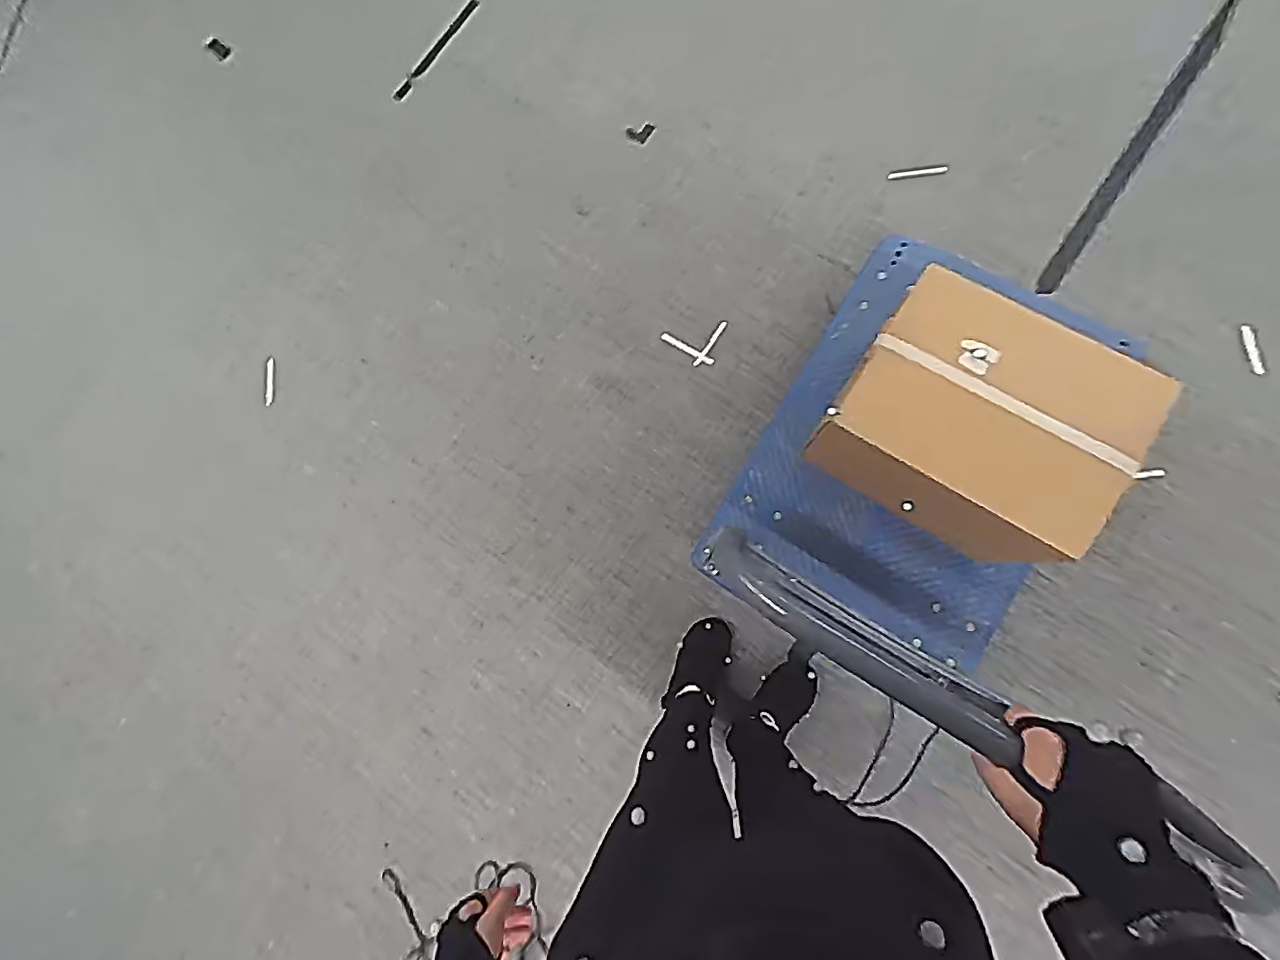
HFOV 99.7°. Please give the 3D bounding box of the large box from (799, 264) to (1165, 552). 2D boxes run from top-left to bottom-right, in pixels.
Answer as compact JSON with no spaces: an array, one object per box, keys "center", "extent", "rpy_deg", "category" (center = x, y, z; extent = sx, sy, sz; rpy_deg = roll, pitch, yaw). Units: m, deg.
[{"center":[0.556,-0.103,0.974],"extent":[0.408,0.320,0.320],"rpy_deg":[32,85,12],"category":"large box"}]
